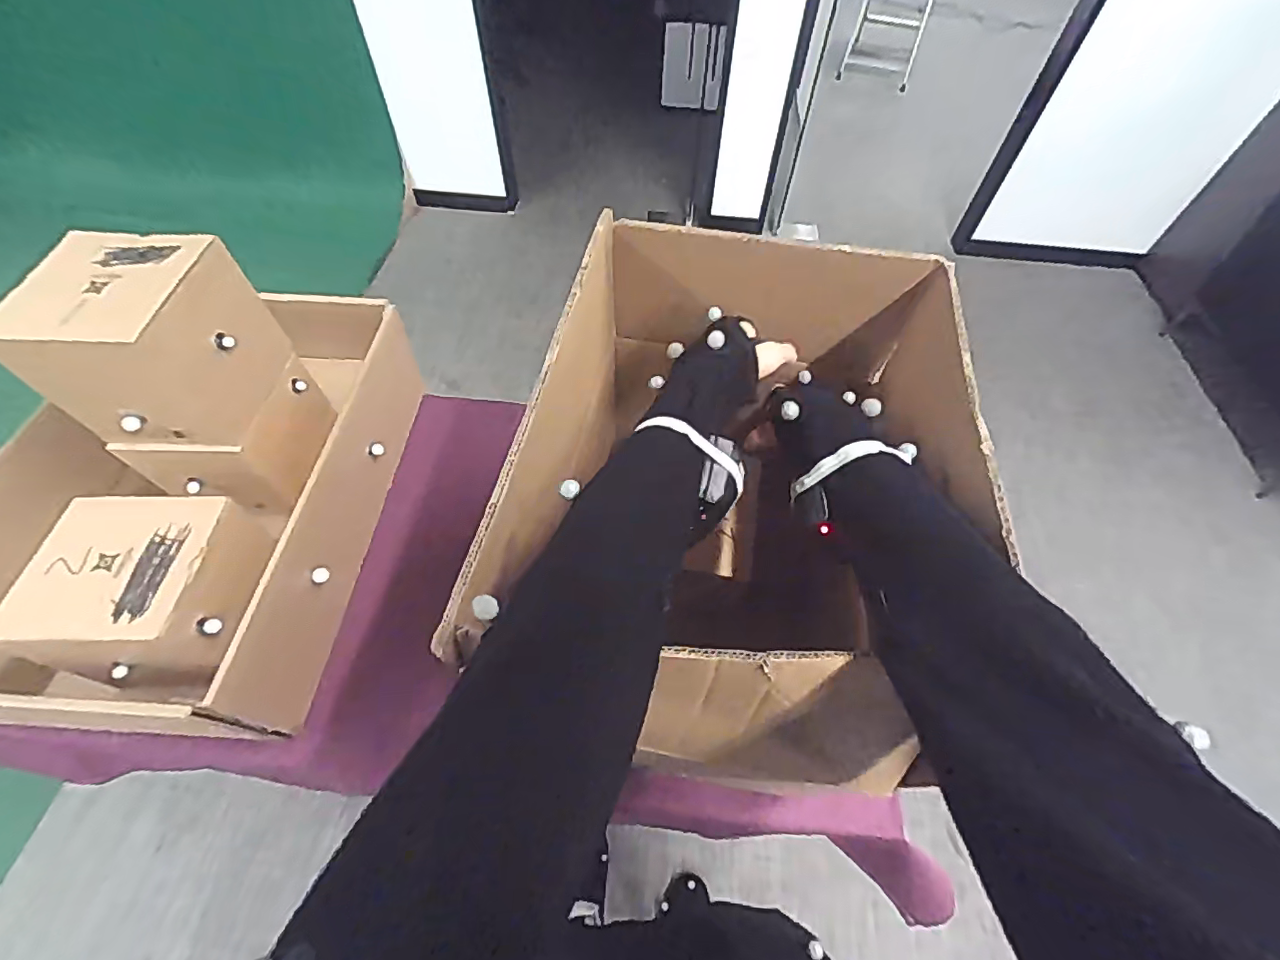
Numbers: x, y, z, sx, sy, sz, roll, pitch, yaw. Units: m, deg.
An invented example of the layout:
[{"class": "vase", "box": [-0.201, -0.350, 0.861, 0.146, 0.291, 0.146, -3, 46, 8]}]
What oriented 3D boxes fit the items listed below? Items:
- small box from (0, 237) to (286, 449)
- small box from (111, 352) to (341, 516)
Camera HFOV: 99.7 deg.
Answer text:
[{"class": "small box", "box": [-0.558, -0.156, 0.632, 0.168, 0.176, 0.179, 1, 58, 1]}, {"class": "small box", "box": [-0.560, -0.060, 0.765, 0.168, 0.176, 0.179, 1, 56, 0]}]
